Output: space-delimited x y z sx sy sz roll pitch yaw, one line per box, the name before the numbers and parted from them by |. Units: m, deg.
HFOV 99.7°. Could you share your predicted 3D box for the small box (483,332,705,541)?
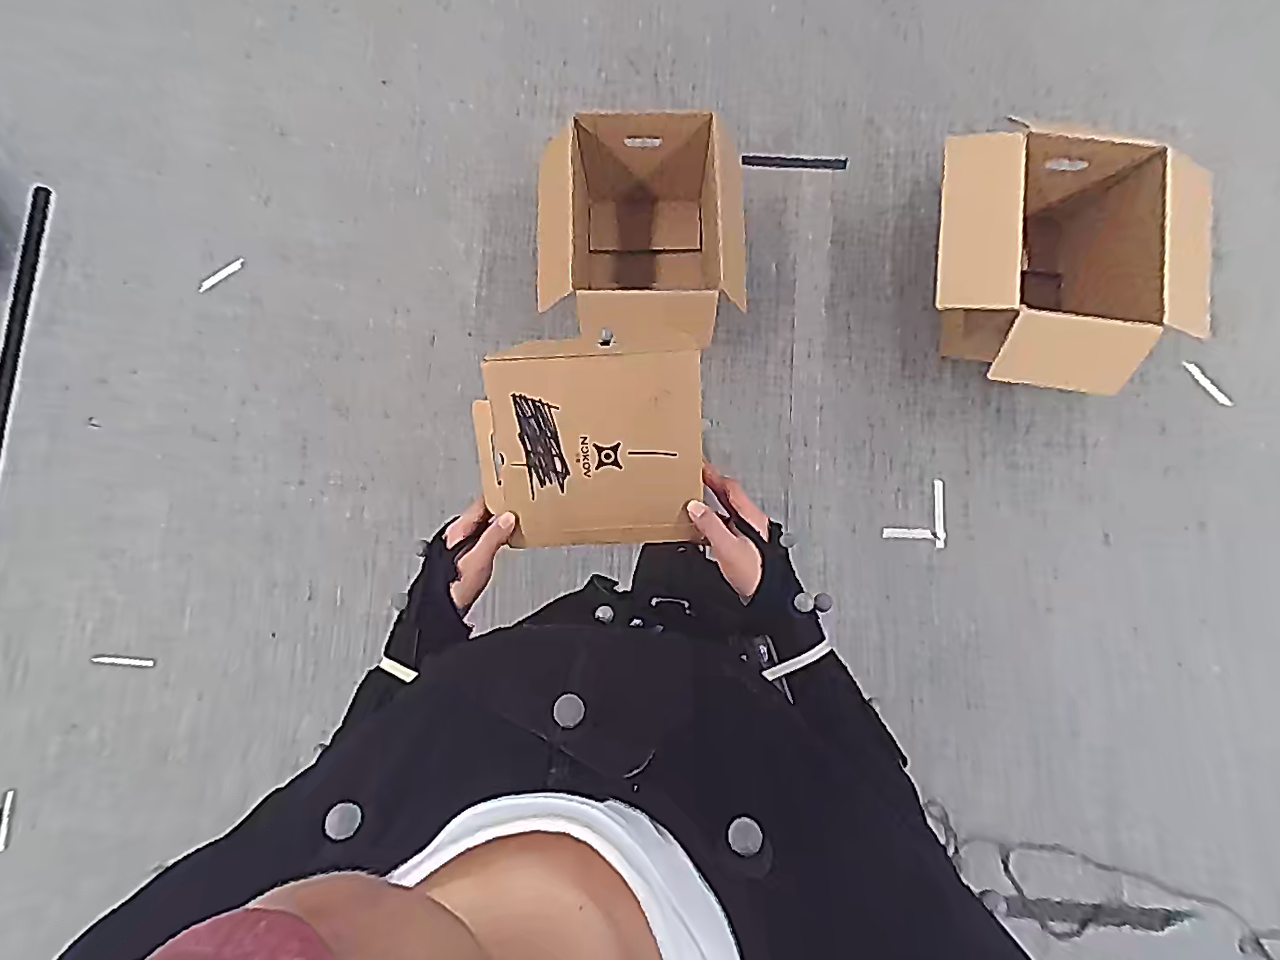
small box | -0.032 -0.051 0.521 0.179 0.176 0.168 -3 109 2
